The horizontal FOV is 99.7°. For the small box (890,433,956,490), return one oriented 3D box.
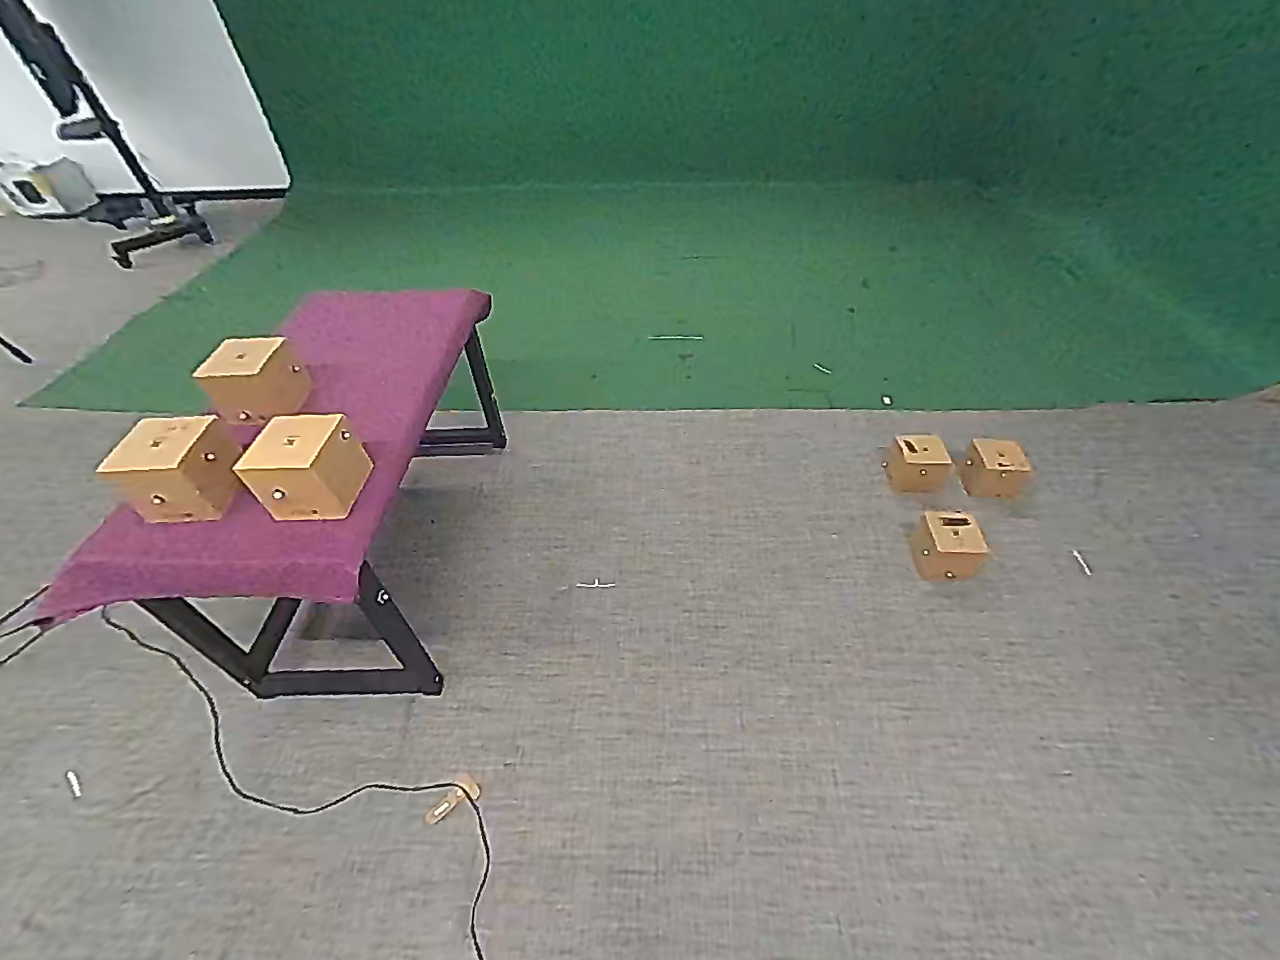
[{"bbox_3d":[1.124,-0.072,2.169,0.179,0.176,0.168,1,46,3],"label":"small box"}]

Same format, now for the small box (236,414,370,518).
[{"bbox_3d":[-0.738,-0.027,1.211,0.168,0.176,0.179,-2,45,4],"label":"small box"}]

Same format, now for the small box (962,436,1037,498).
[{"bbox_3d":[1.412,-0.053,2.138,0.168,0.176,0.179,2,45,5],"label":"small box"}]

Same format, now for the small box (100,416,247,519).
[{"bbox_3d":[-1.028,-0.023,1.222,0.168,0.176,0.179,-3,45,-1],"label":"small box"}]

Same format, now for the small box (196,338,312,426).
[{"bbox_3d":[-1.026,-0.264,1.460,0.168,0.176,0.179,-2,46,1],"label":"small box"}]
